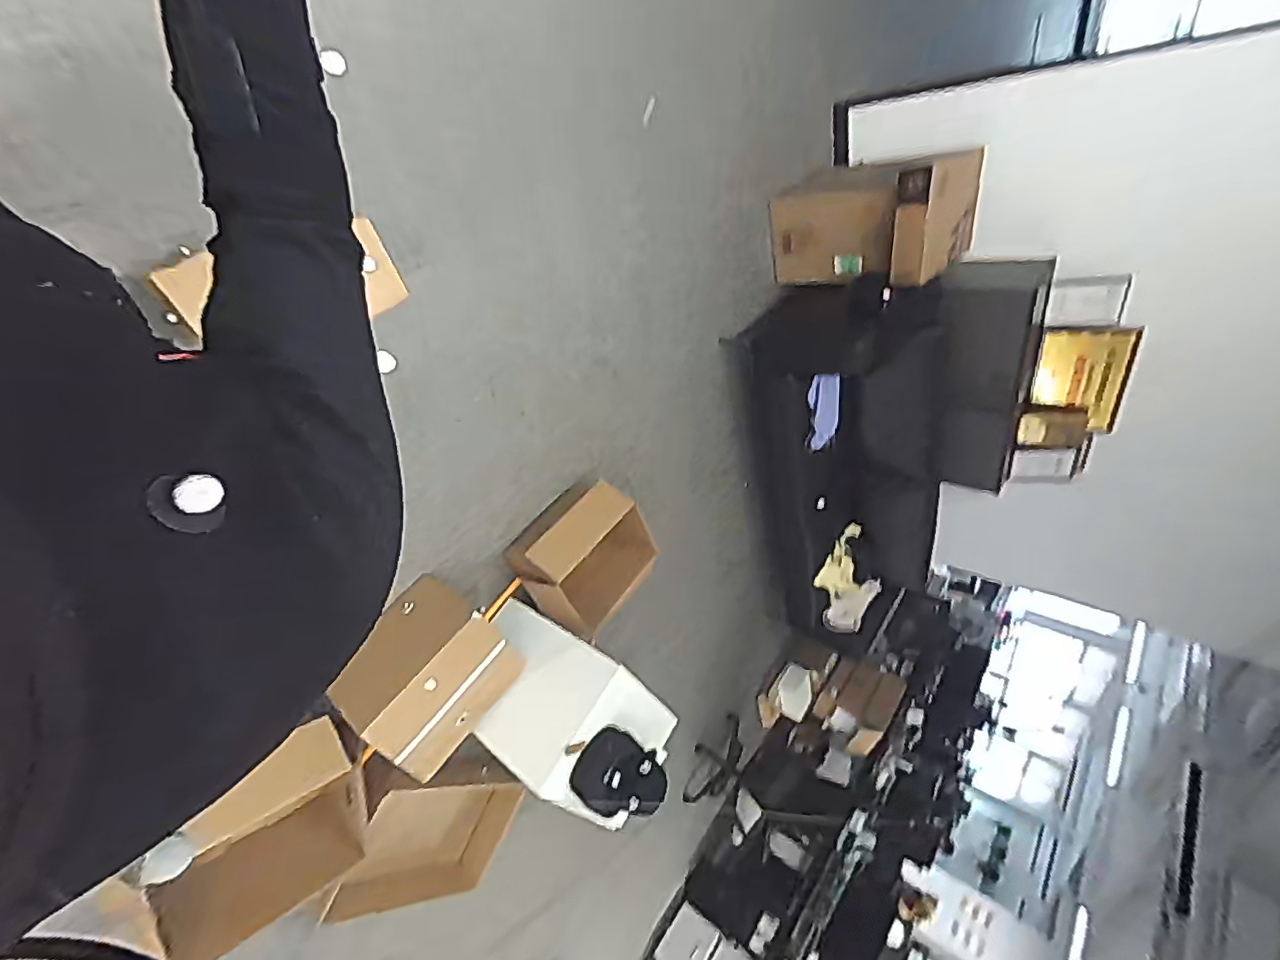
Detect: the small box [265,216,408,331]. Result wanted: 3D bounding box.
[{"bbox_3d":[-0.623,-0.420,1.104,0.179,0.176,0.168,-45,135,-31],"label":"small box"}]
